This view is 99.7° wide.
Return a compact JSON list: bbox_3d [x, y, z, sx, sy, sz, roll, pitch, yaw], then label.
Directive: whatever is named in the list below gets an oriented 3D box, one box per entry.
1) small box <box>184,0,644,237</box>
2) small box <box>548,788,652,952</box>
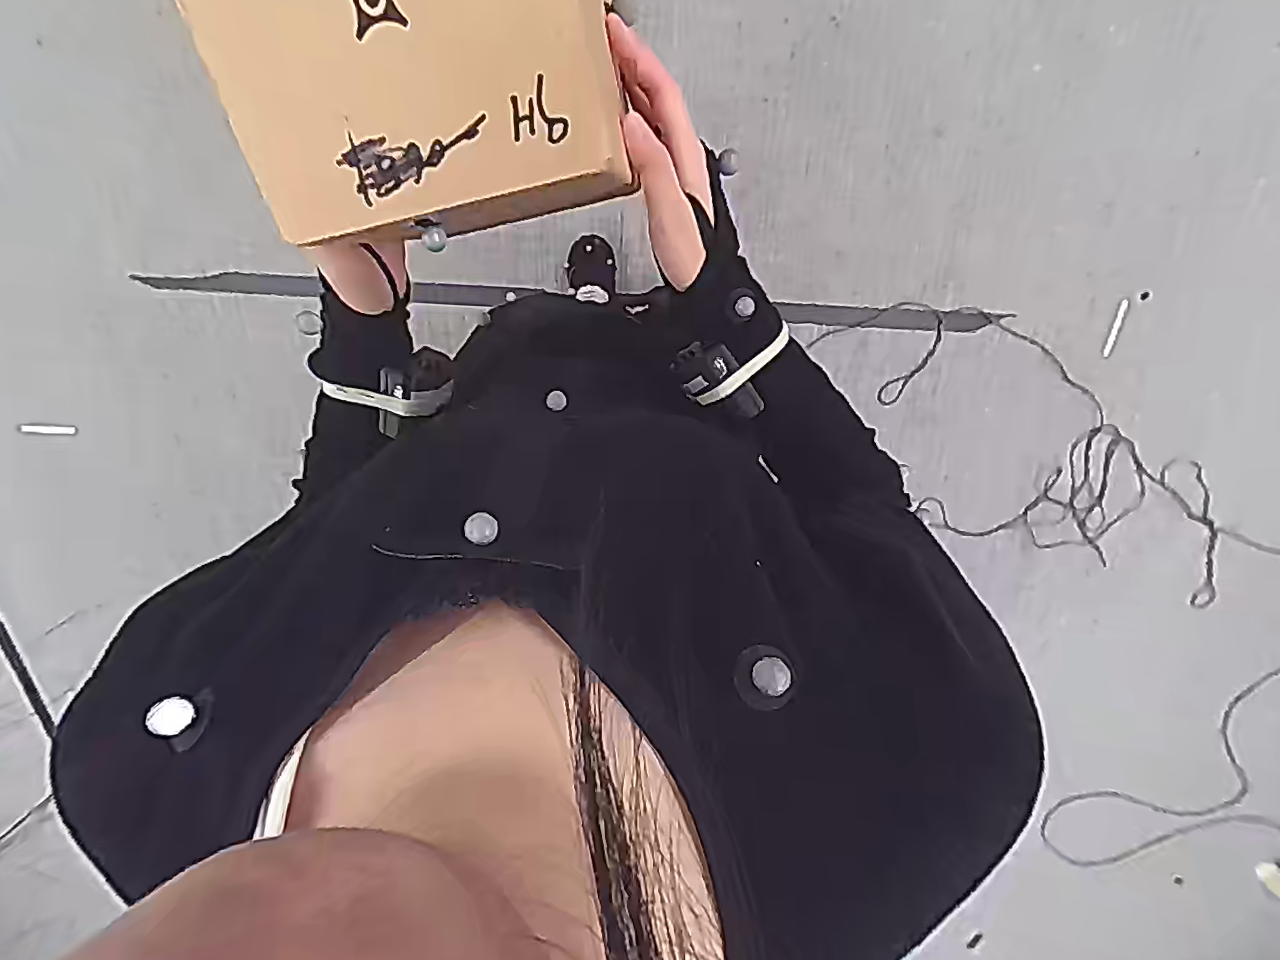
[{"bbox_3d":[-0.097,-0.235,0.283,0.168,0.176,0.179,-8,114,10],"label":"small box"},{"bbox_3d":[-0.067,0.688,0.963,0.168,0.176,0.179,4,112,-1],"label":"small box"}]
